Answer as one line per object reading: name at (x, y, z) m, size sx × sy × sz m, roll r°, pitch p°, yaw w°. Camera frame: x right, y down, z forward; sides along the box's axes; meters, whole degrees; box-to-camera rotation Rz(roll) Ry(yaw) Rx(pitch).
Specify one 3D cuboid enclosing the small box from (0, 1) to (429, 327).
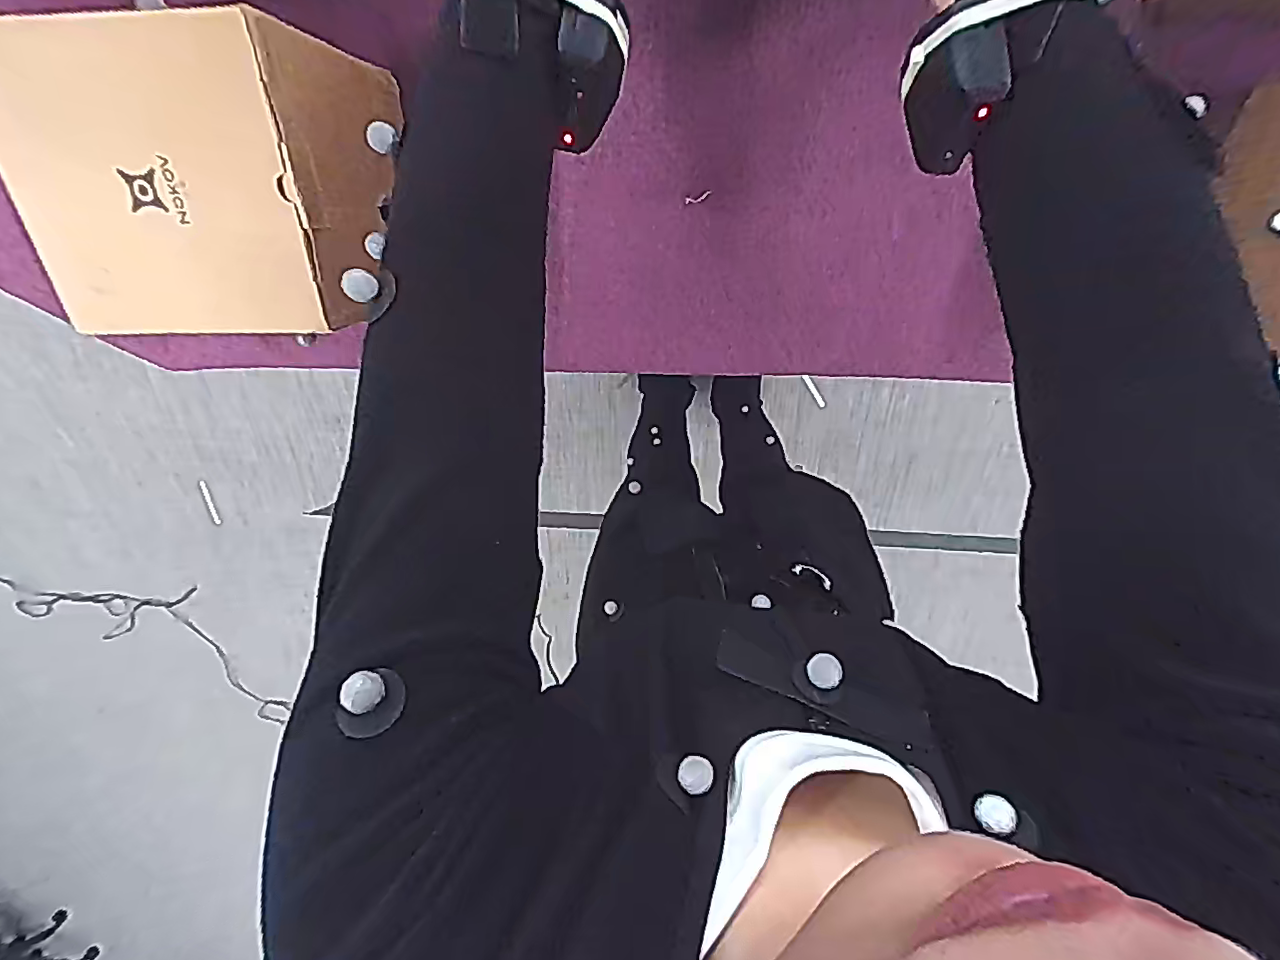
small box at (-0.281, -0.208, 0.389) m, size 0.179 × 0.176 × 0.168 m, roll -1°, pitch 117°, yaw 3°
